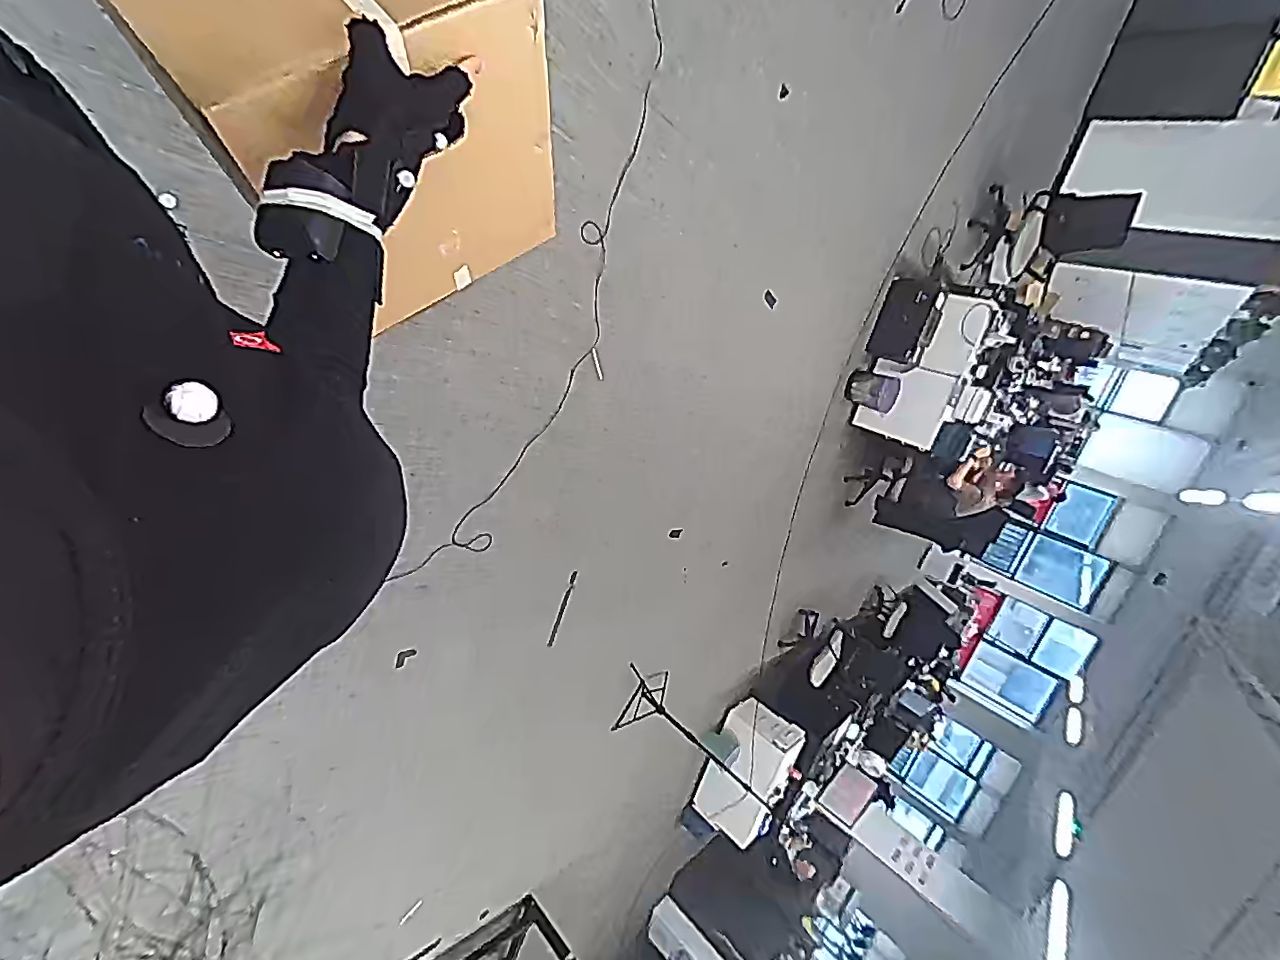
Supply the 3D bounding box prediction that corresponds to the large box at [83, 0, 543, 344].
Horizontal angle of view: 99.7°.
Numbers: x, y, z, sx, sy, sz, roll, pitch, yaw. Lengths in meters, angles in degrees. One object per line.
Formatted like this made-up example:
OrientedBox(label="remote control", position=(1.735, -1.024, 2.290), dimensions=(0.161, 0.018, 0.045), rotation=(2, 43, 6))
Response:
OrientedBox(label="large box", position=(-0.358, -0.449, 0.630), dimensions=(0.320, 0.408, 0.320), rotation=(-38, 171, -16))
